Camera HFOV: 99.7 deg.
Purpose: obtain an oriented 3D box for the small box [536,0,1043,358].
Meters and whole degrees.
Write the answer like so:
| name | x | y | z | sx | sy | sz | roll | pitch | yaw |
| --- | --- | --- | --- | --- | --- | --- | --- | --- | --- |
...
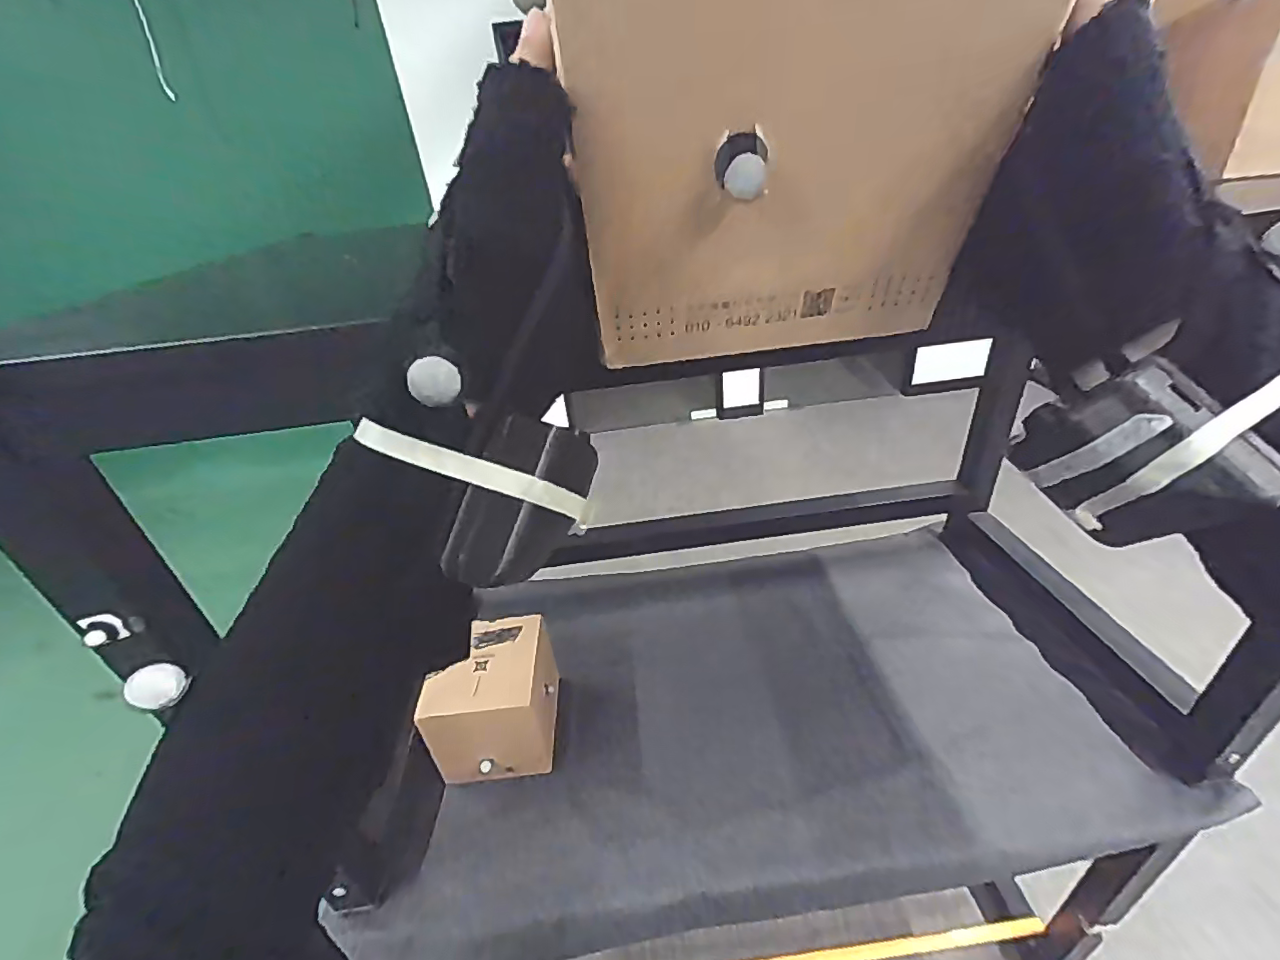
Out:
| name | x | y | z | sx | sy | sz | roll | pitch | yaw |
| --- | --- | --- | --- | --- | --- | --- | --- | --- | --- |
| small box | 0.047 | -0.174 | 0.257 | 0.168 | 0.176 | 0.179 | -7 | 54 | -1 |

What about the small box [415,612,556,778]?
| name | x | y | z | sx | sy | sz | roll | pitch | yaw |
| --- | --- | --- | --- | --- | --- | --- | --- | --- | --- |
| small box | -0.232 | 0.340 | 0.864 | 0.168 | 0.176 | 0.179 | -7 | 32 | 0 |
